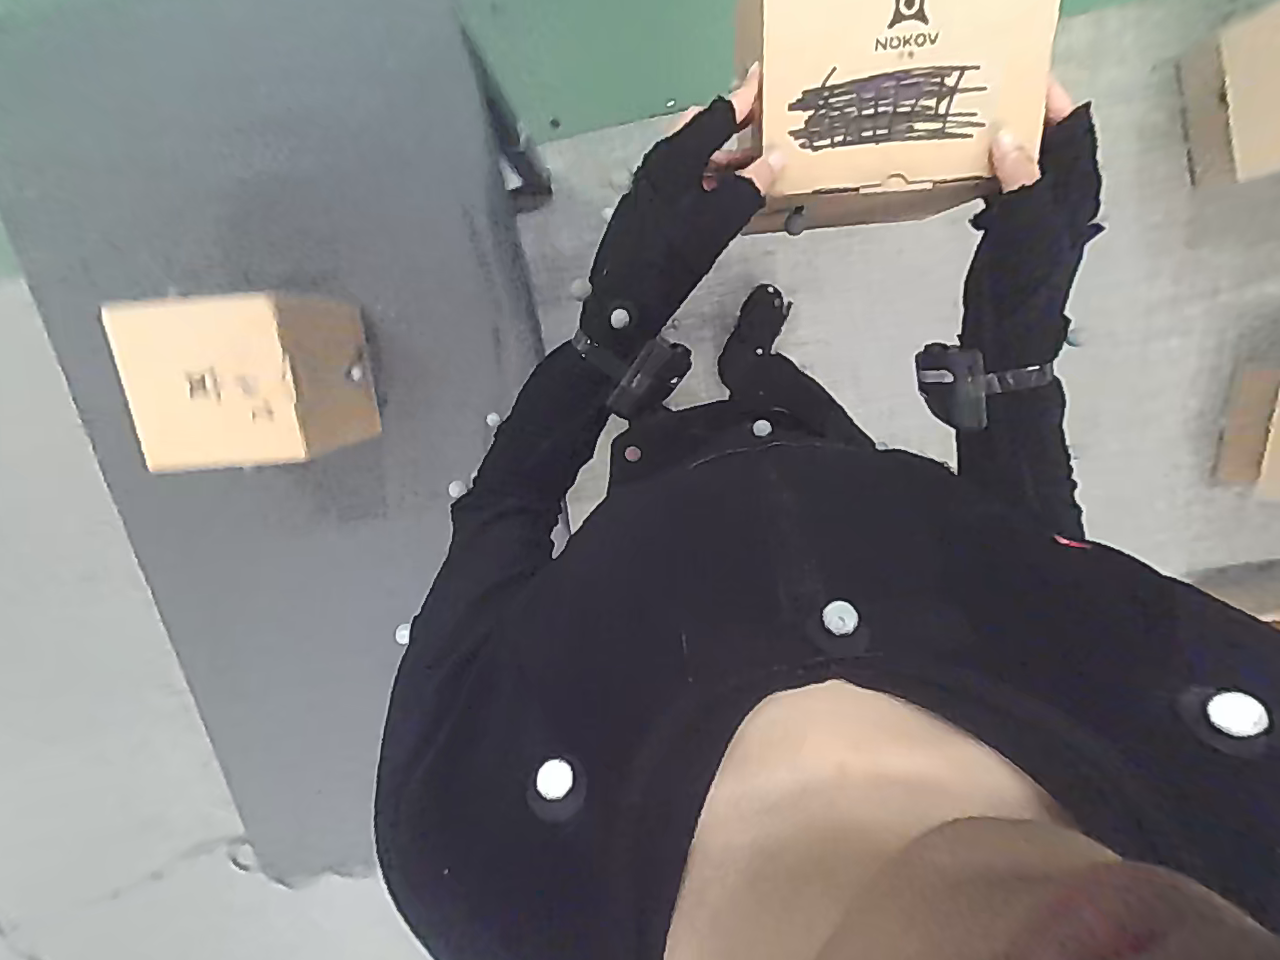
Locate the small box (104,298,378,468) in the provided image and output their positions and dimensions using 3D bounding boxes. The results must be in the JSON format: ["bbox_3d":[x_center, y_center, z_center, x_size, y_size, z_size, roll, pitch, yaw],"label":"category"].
[{"bbox_3d":[-0.439,-0.113,0.627,0.179,0.176,0.168,-4,104,1],"label":"small box"}]
